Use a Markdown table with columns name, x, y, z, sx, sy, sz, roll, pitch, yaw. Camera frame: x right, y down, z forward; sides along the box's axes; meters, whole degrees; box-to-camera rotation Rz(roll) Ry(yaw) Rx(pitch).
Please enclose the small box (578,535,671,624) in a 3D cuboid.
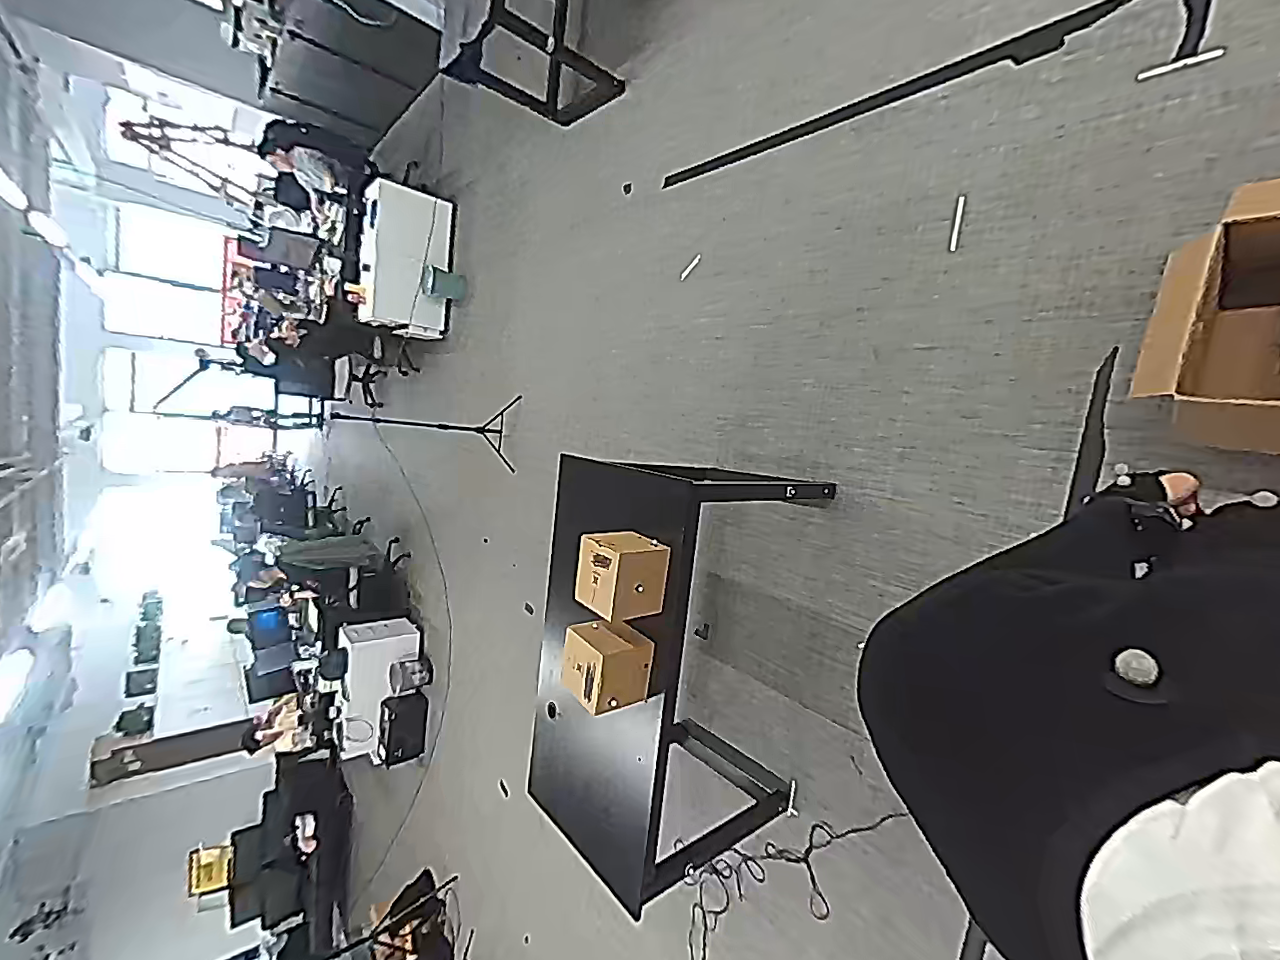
| name | x | y | z | sx | sy | sz | roll | pitch | yaw |
| --- | --- | --- | --- | --- | --- | --- | --- | --- | --- |
| small box | -0.038 | 0.245 | 1.390 | 0.168 | 0.176 | 0.179 | 17 | 103 | 50 |
